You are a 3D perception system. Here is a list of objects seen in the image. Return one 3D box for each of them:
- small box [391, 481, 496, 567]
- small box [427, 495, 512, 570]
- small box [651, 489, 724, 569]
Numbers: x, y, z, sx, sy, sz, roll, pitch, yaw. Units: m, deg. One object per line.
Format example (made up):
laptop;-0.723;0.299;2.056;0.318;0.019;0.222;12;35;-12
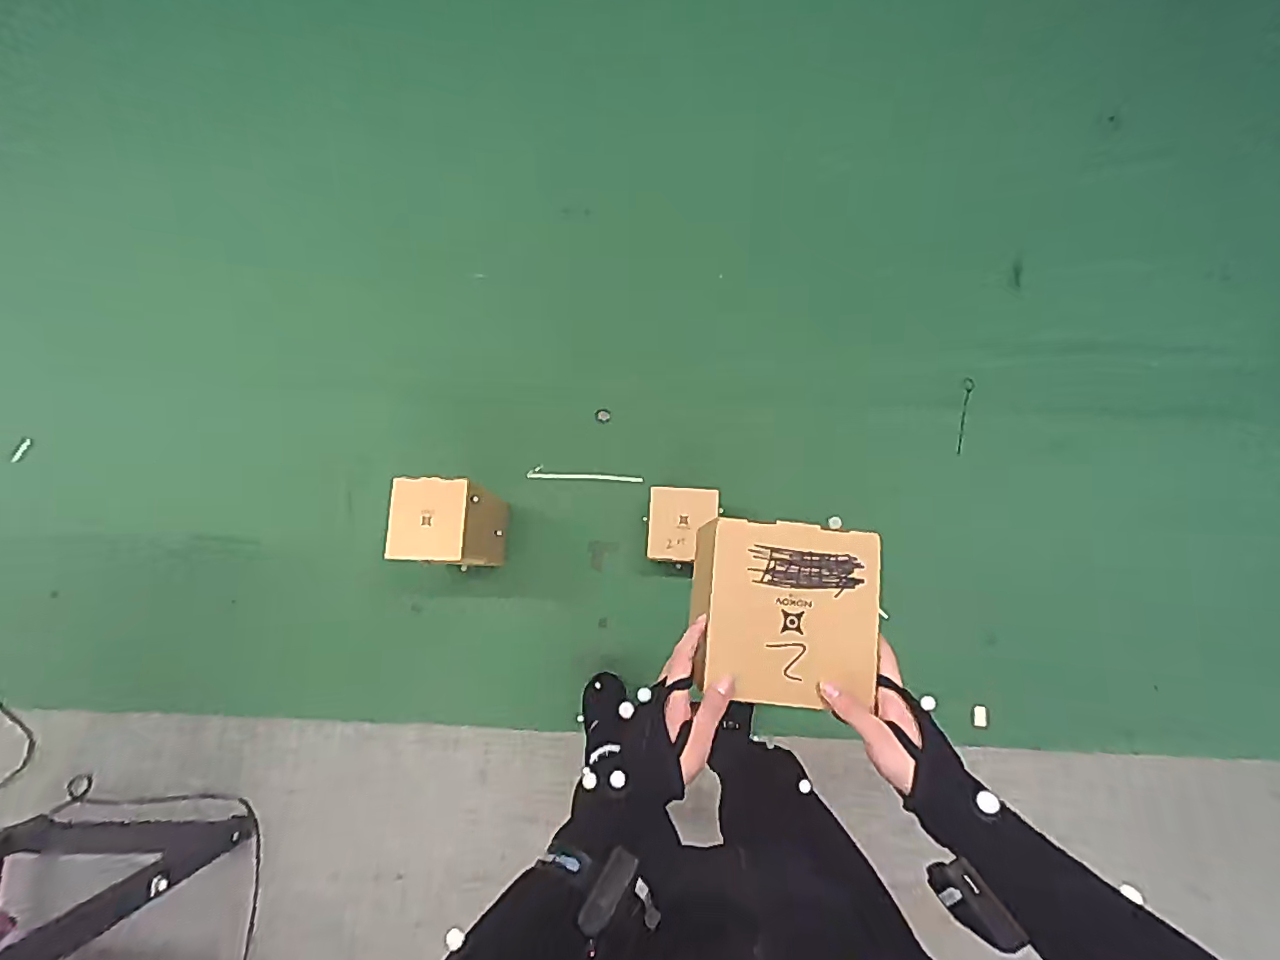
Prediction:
small box;-0.436;0.105;1.226;0.168;0.176;0.179;1;78;3
small box;-0.433;0.136;1.384;0.168;0.176;0.179;1;80;3
small box;0.116;0.128;1.366;0.168;0.176;0.179;3;79;3
